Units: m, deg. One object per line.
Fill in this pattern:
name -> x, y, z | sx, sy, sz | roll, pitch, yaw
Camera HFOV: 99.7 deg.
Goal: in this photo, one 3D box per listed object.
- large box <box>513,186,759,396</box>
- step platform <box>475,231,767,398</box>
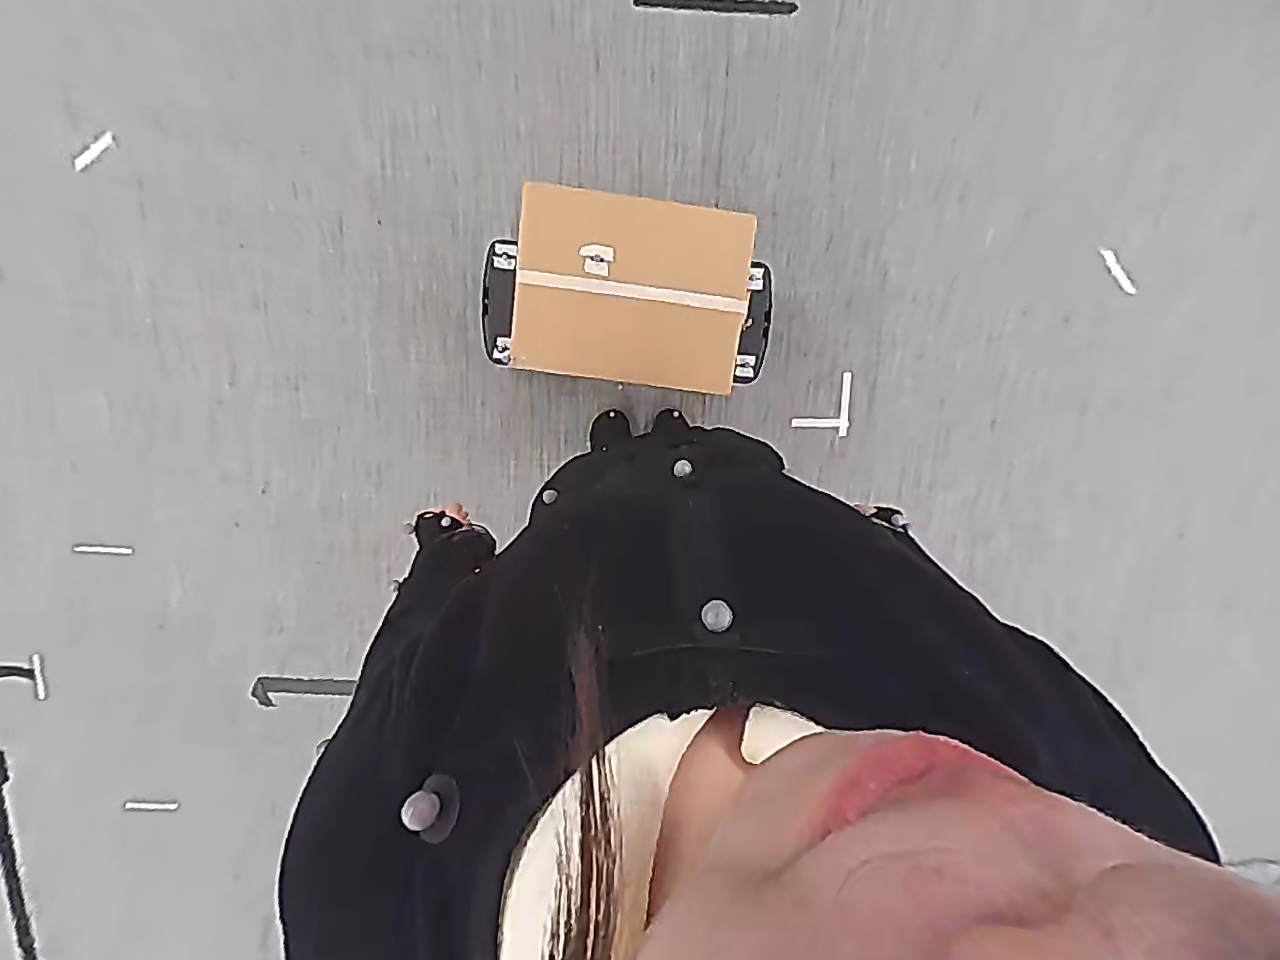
large box -> -0.010, -0.349, 1.081 | 0.408, 0.320, 0.320 | 7, 99, -2
step platform -> -0.043, -0.390, 1.315 | 0.684, 0.204, 0.286 | 9, 100, -2
